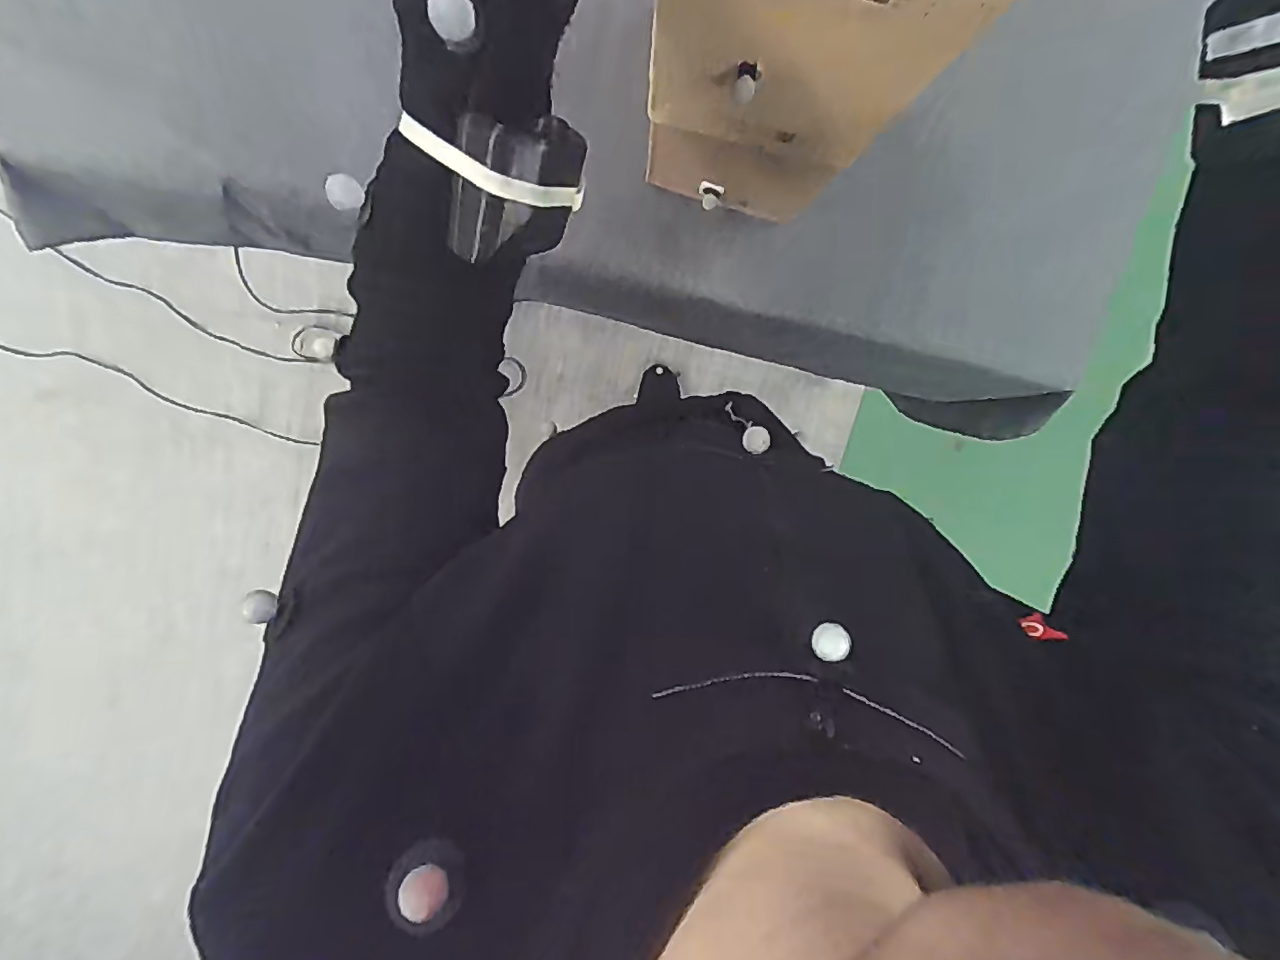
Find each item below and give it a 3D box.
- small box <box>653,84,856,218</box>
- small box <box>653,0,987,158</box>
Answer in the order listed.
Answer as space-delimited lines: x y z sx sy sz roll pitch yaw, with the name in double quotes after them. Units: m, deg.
0.108 -0.364 0.482 0.168 0.176 0.179 14 101 -3 "small box"
0.105 -0.328 0.324 0.168 0.176 0.179 13 99 -2 "small box"
